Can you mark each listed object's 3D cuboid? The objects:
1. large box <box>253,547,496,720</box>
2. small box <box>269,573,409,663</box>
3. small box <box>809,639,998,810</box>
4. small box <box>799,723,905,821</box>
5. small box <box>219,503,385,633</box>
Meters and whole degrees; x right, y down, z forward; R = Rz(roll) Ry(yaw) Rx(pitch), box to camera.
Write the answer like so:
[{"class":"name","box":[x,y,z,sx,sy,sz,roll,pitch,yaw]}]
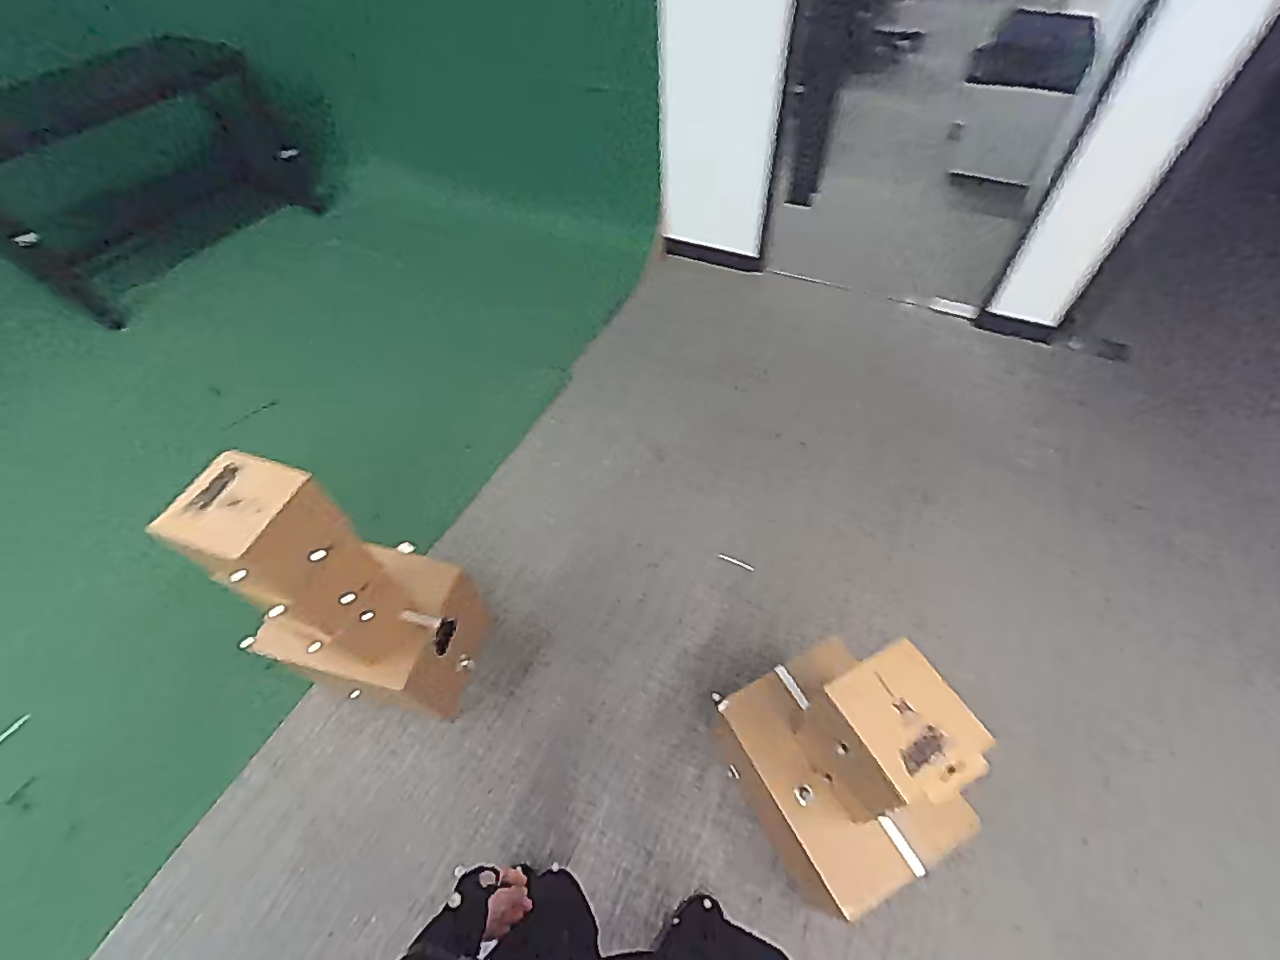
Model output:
[{"class":"large box","box":[-0.646,0.391,1.398,0.408,0.320,0.320,9,54,11]},{"class":"small box","box":[-0.640,0.275,1.178,0.168,0.176,0.179,15,56,13]},{"class":"small box","box":[0.391,0.384,0.838,0.168,0.176,0.179,-24,55,-15]},{"class":"small box","box":[0.415,0.481,0.970,0.168,0.176,0.179,-27,58,-17]},{"class":"small box","box":[-0.641,0.175,1.050,0.179,0.176,0.168,16,56,14]}]
